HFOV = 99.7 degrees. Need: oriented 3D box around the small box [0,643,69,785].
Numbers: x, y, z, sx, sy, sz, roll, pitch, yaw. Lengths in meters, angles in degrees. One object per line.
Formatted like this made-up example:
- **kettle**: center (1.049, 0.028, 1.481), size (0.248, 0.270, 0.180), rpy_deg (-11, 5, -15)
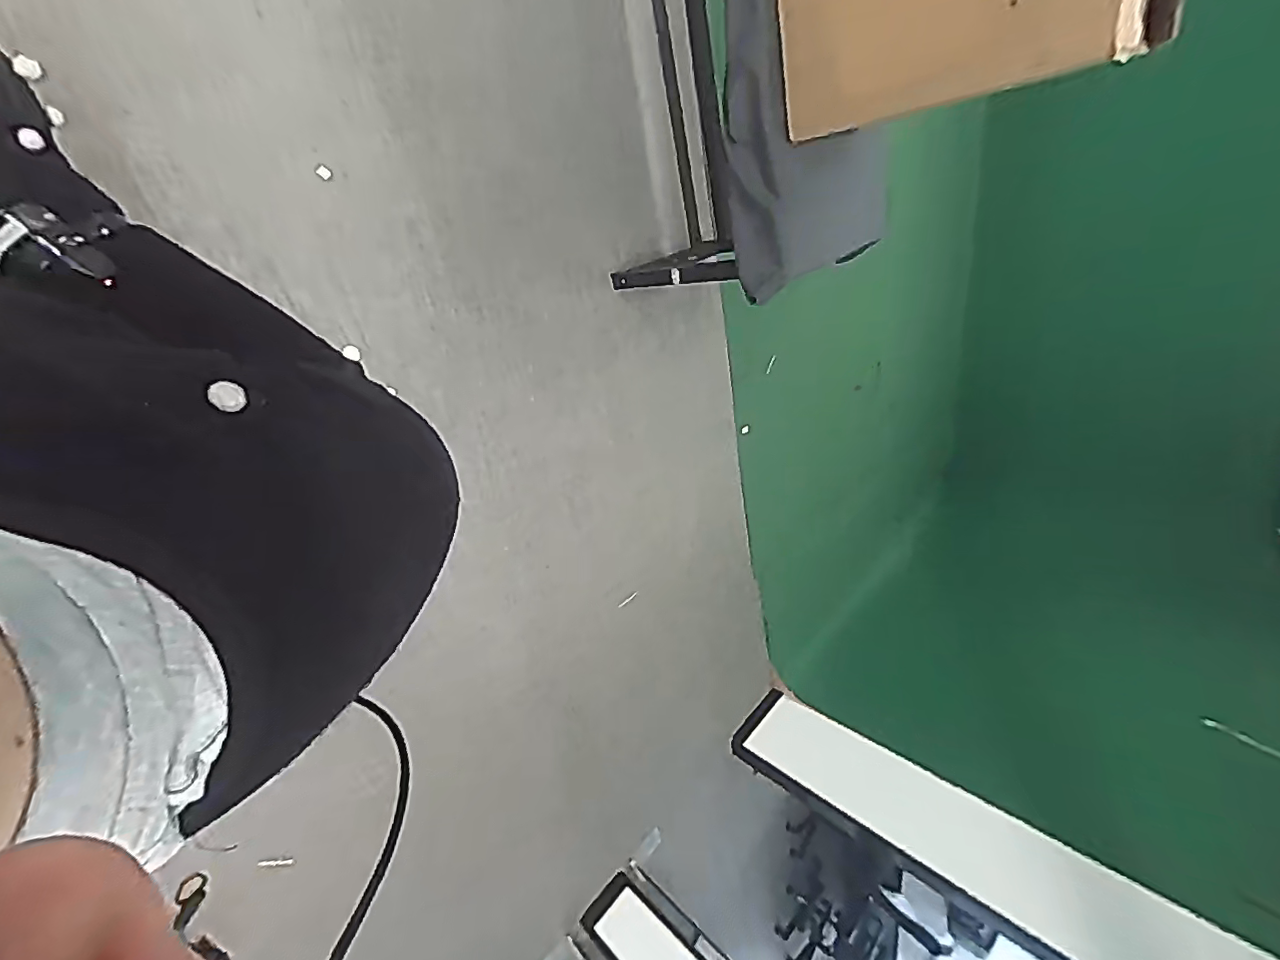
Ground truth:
- **small box**: center (-1.126, 0.415, 0.914), size (0.179, 0.176, 0.168), rpy_deg (-35, 125, -34)
